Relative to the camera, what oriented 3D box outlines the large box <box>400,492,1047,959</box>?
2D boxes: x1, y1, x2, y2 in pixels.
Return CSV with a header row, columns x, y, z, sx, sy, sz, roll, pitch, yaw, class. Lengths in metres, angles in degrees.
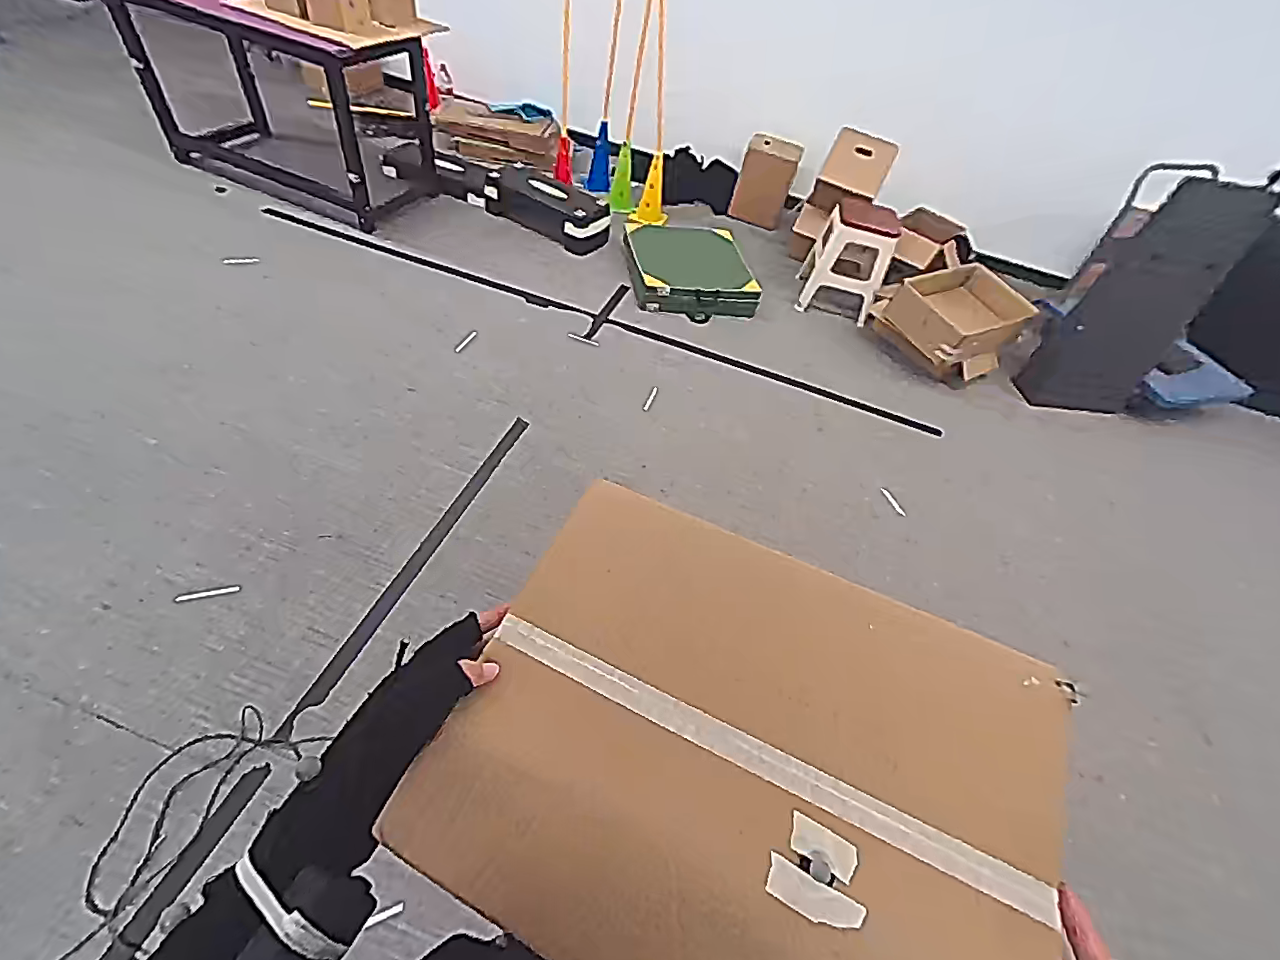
x,y,z,sx,sy,sz,roll,pitch,yaw,class
0.075,0.274,0.521,0.408,0.320,0.320,22,61,15,large box
